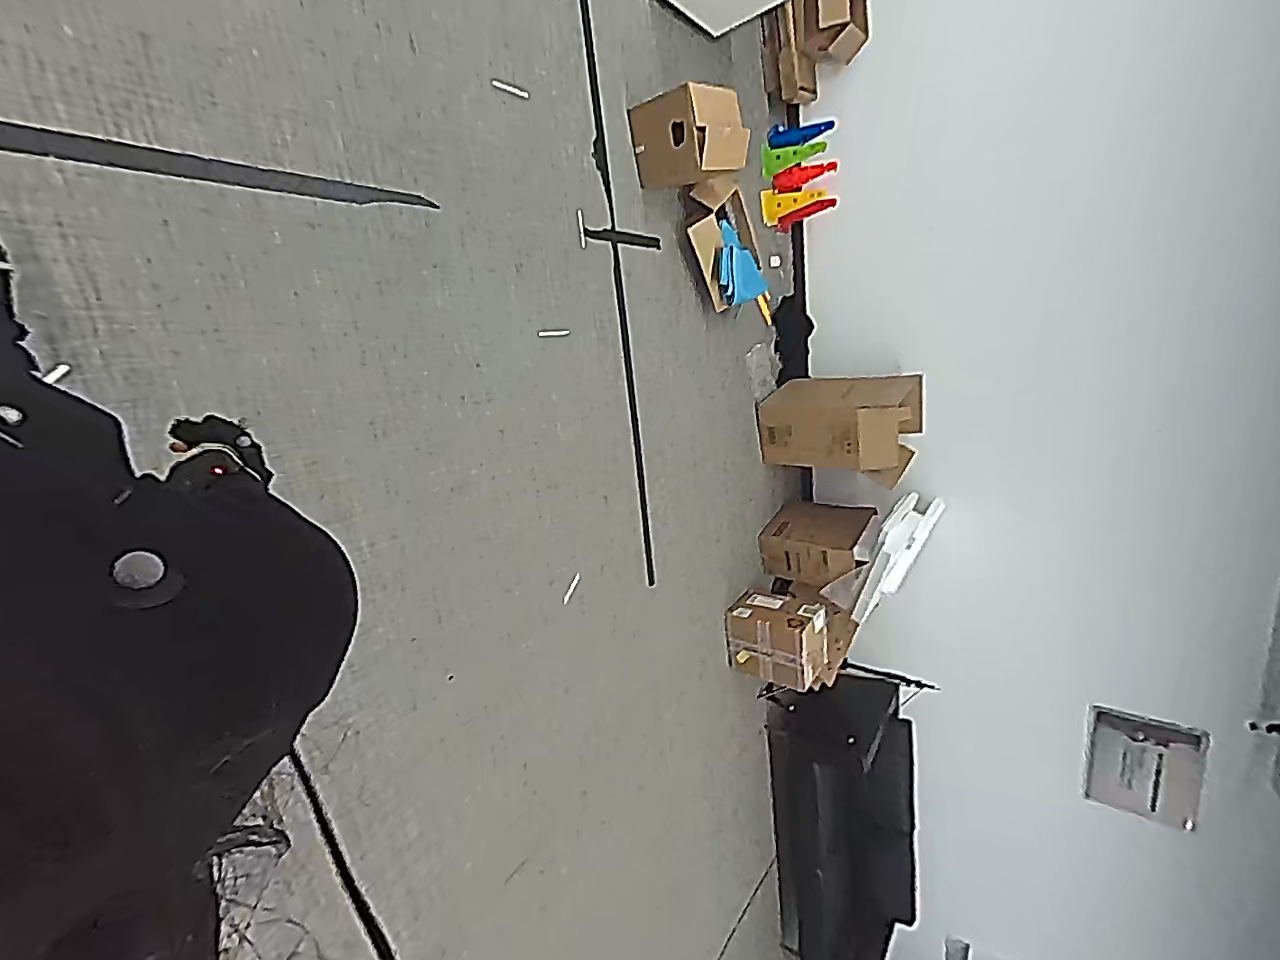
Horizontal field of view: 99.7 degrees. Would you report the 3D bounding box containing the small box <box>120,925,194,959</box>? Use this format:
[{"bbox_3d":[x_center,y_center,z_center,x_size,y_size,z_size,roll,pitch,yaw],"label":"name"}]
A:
[{"bbox_3d":[-0.826,0.901,0.890,0.179,0.176,0.168,-27,115,-48],"label":"small box"}]
